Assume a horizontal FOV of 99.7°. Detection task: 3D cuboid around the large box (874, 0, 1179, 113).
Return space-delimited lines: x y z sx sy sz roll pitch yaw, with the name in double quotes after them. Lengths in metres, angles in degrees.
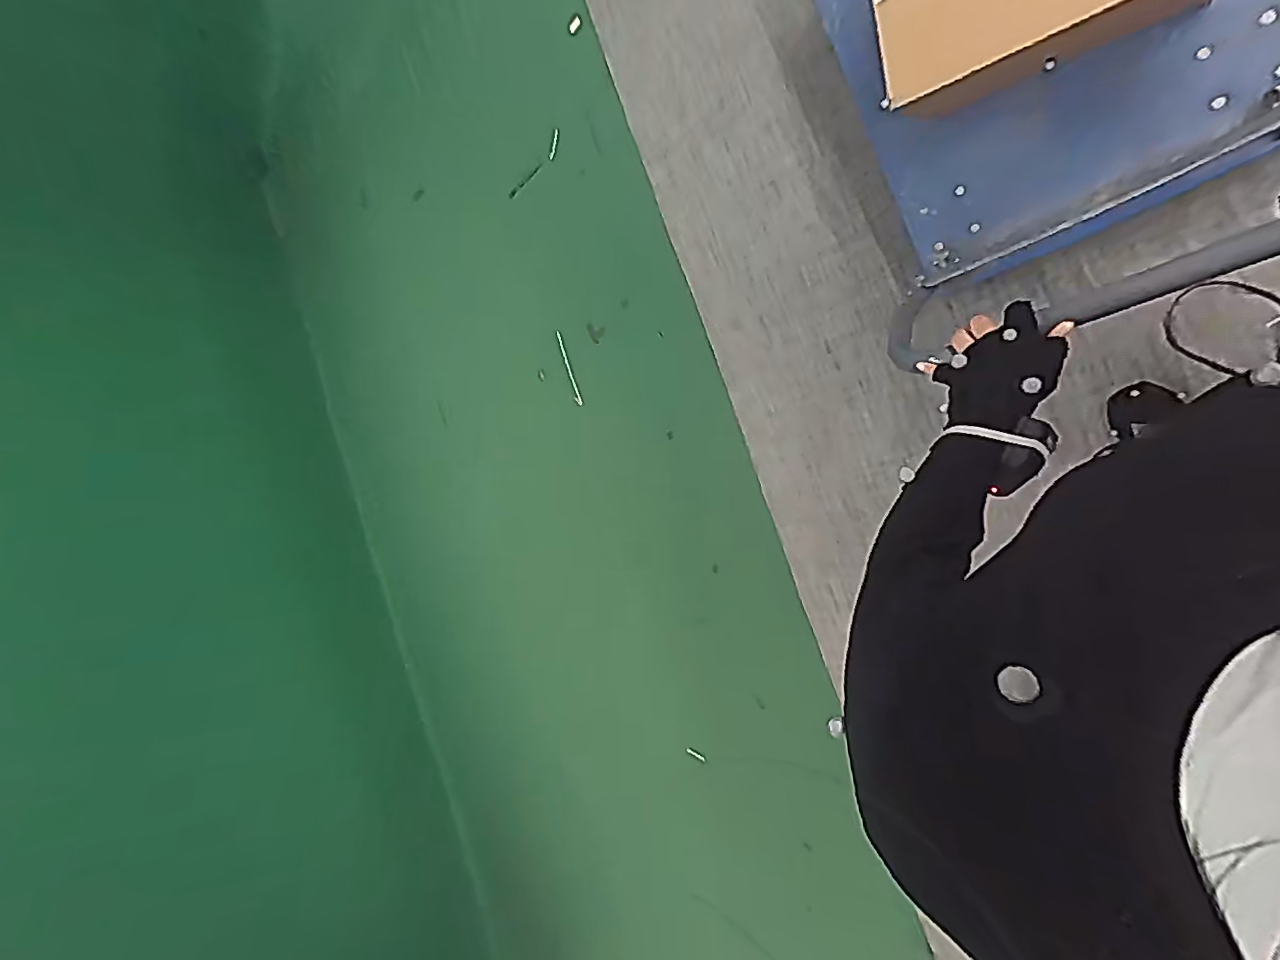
0.596 -0.817 0.808 0.408 0.320 0.320 -4 111 40 "large box"
